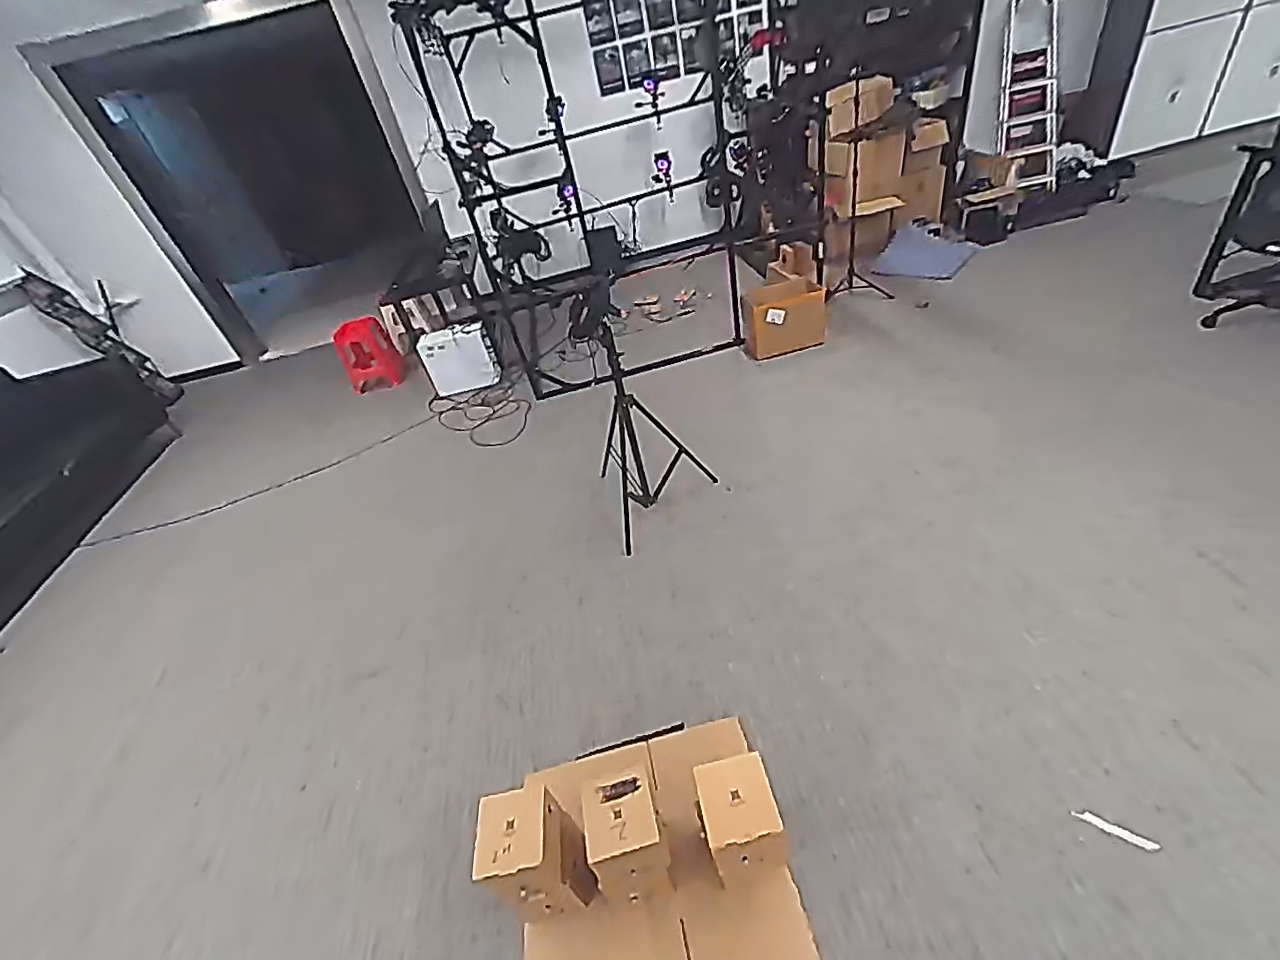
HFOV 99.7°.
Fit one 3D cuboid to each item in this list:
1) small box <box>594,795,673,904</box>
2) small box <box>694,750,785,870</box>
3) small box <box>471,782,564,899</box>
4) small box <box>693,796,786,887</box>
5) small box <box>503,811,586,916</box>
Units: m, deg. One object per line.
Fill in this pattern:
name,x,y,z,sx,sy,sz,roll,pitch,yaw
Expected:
small box,-0.017,0.947,1.387,0.168,0.176,0.179,-13,38,1
small box,0.230,0.771,1.263,0.168,0.176,0.179,-14,39,-1
small box,-0.287,0.868,1.303,0.168,0.176,0.179,-14,38,2
small box,0.256,0.889,1.373,0.179,0.176,0.168,-21,39,-8
small box,-0.242,0.996,1.399,0.168,0.176,0.179,-14,39,1
